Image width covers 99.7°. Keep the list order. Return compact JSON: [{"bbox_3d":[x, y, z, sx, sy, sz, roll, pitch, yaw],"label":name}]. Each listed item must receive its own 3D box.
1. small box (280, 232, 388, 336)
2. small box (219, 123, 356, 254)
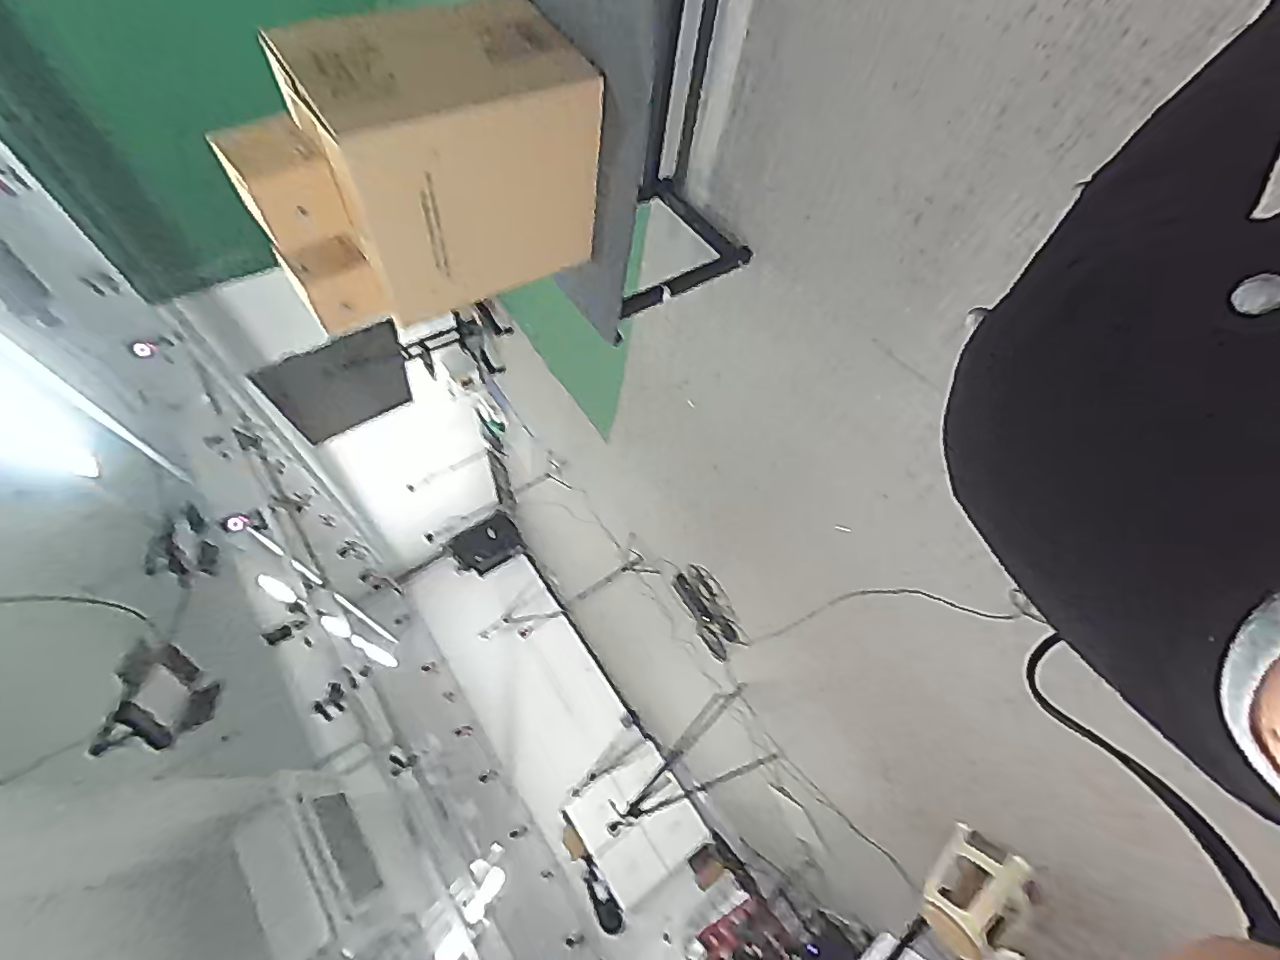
[{"bbox_3d":[-0.794,-0.521,1.425,0.168,0.176,0.179,49,156,15],"label":"small box"},{"bbox_3d":[-0.771,-0.651,1.203,0.168,0.176,0.179,49,157,14],"label":"small box"}]
